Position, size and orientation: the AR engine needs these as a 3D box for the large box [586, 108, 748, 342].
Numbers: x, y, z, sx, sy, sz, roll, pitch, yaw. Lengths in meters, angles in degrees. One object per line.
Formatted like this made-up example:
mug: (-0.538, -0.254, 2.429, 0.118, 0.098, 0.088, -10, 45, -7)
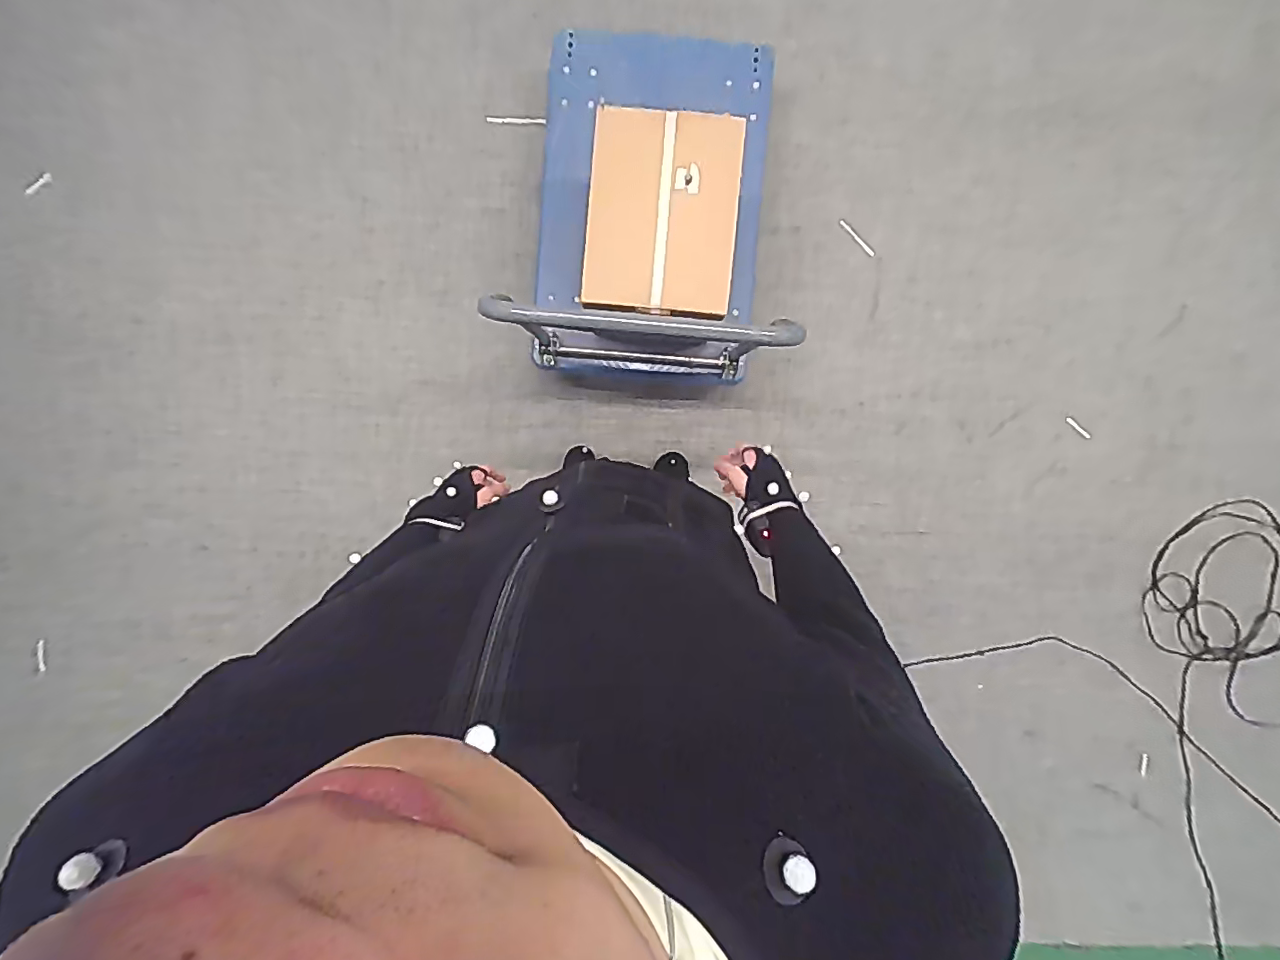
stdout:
large box: (0.055, -0.559, 1.263, 0.320, 0.320, 0.408, 5, 93, -1)
